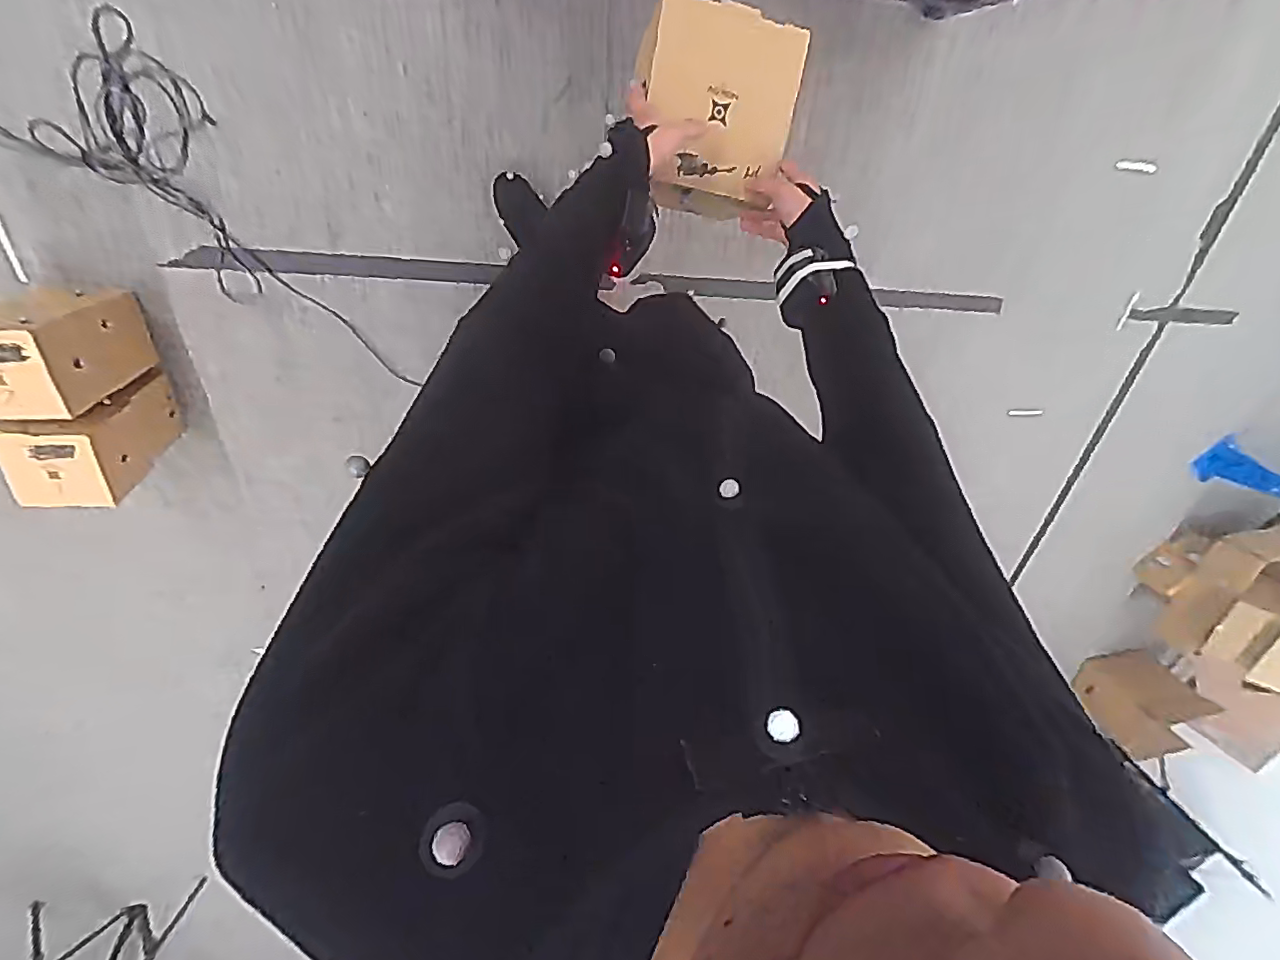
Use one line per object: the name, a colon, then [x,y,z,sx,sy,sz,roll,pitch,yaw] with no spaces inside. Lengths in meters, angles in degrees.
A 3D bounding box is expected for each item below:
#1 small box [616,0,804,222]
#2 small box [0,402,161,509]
small box: [0.068,-0.429,0.654,0.168,0.176,0.179,7,109,-11]
small box: [-1.191,-0.056,1.166,0.168,0.176,0.179,1,123,-15]
